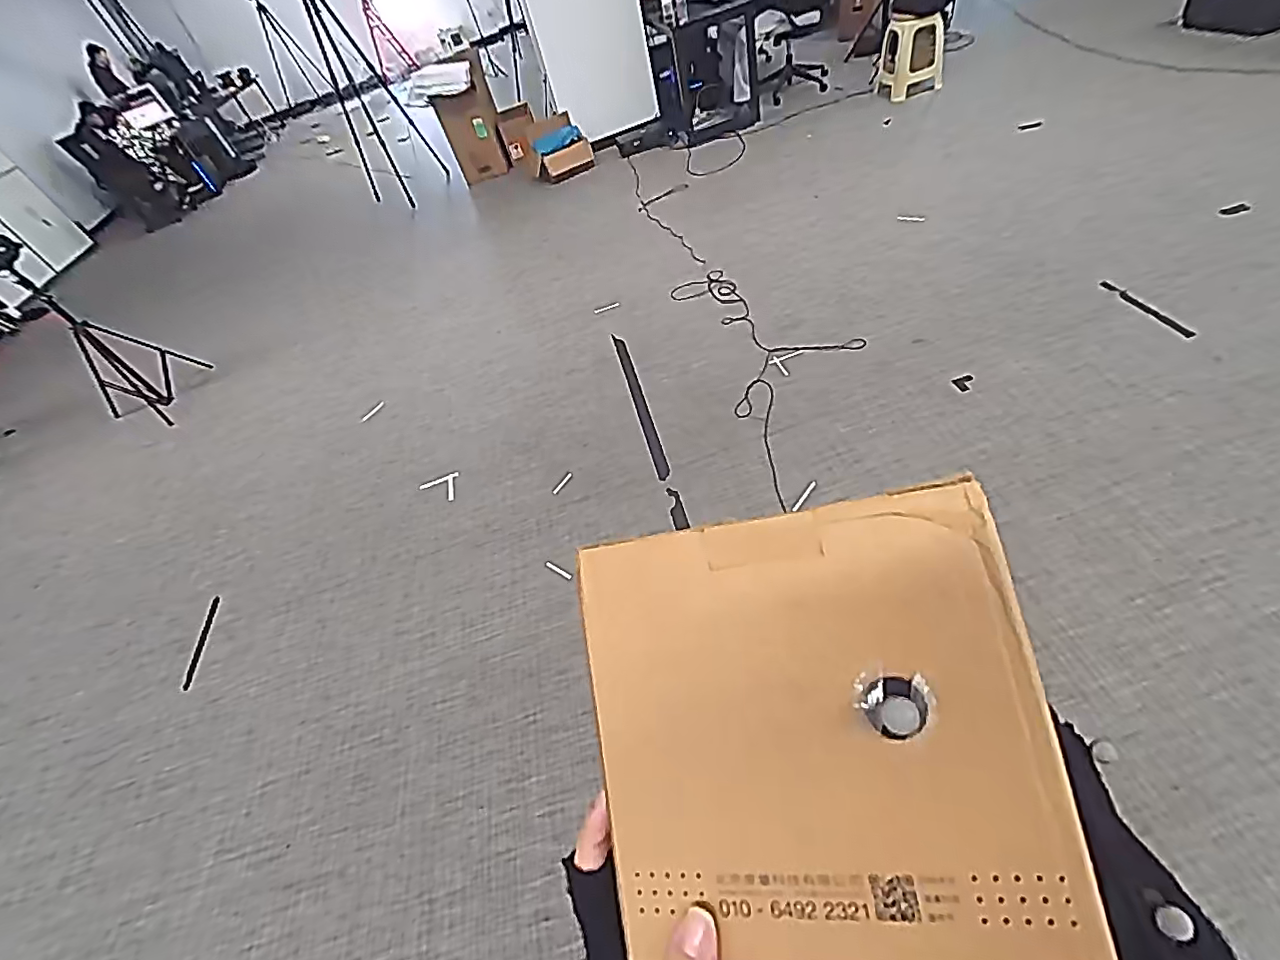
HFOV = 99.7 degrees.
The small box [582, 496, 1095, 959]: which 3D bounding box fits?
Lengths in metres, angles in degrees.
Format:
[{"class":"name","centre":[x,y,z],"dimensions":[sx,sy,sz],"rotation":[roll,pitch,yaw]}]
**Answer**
[{"class":"small box","centre":[0.089,0.113,0.284],"dimensions":[0.168,0.179,0.176],"rotation":[-12,79,17]}]
